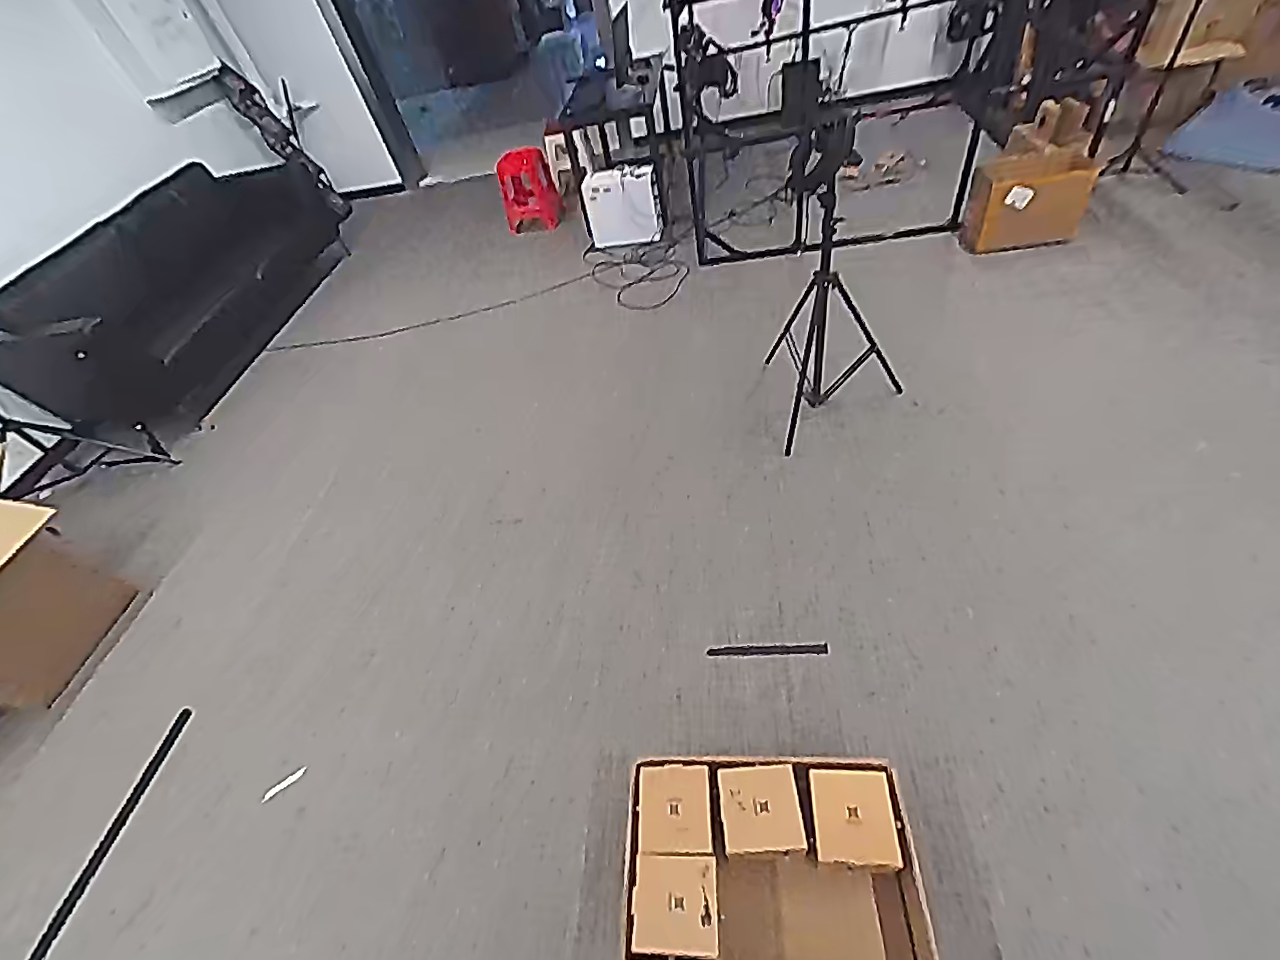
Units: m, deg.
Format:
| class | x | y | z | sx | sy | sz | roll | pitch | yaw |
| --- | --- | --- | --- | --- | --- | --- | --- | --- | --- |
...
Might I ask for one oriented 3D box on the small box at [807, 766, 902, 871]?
| class | x | y | z | sx | sy | sz | roll | pitch | yaw |
| --- | --- | --- | --- | --- | --- | --- | --- | --- | --- |
| small box | 0.474 | 0.767 | 1.224 | 0.168 | 0.176 | 0.179 | -5 | 51 | 12 |
